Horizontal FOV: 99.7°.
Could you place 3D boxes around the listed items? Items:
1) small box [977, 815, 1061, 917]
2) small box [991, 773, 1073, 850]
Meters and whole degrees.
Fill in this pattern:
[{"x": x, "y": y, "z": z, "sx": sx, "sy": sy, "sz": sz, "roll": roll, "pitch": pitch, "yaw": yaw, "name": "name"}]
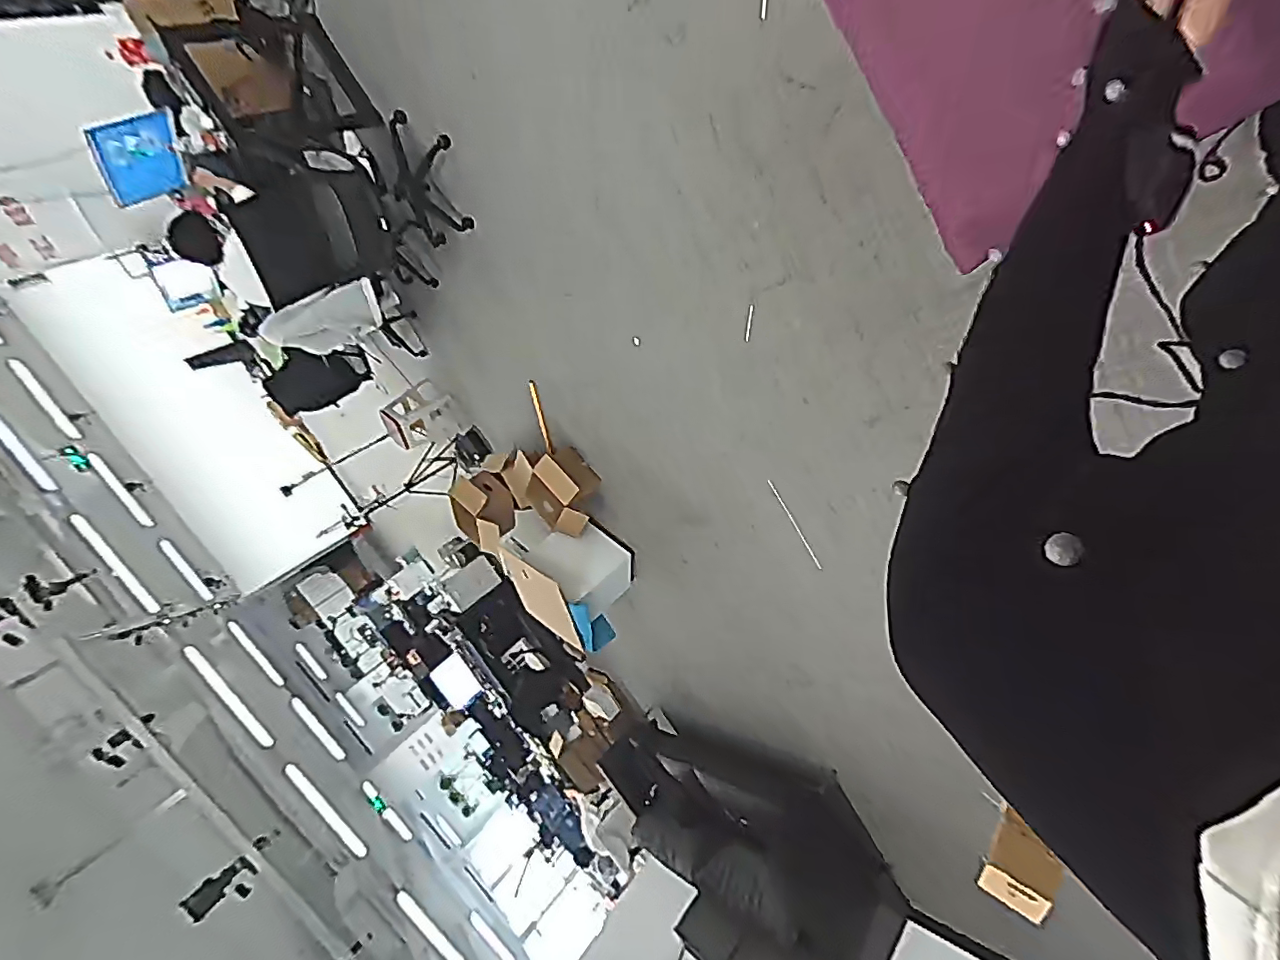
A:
[{"x": 1.182, "y": 1.196, "z": 1.686, "sx": 0.168, "sy": 0.176, "sz": 0.179, "roll": 21, "pitch": 137, "yaw": 38, "name": "small box"}, {"x": 1.290, "y": 1.115, "z": 1.778, "sx": 0.168, "sy": 0.176, "sz": 0.179, "roll": 21, "pitch": 136, "yaw": 39, "name": "small box"}]
